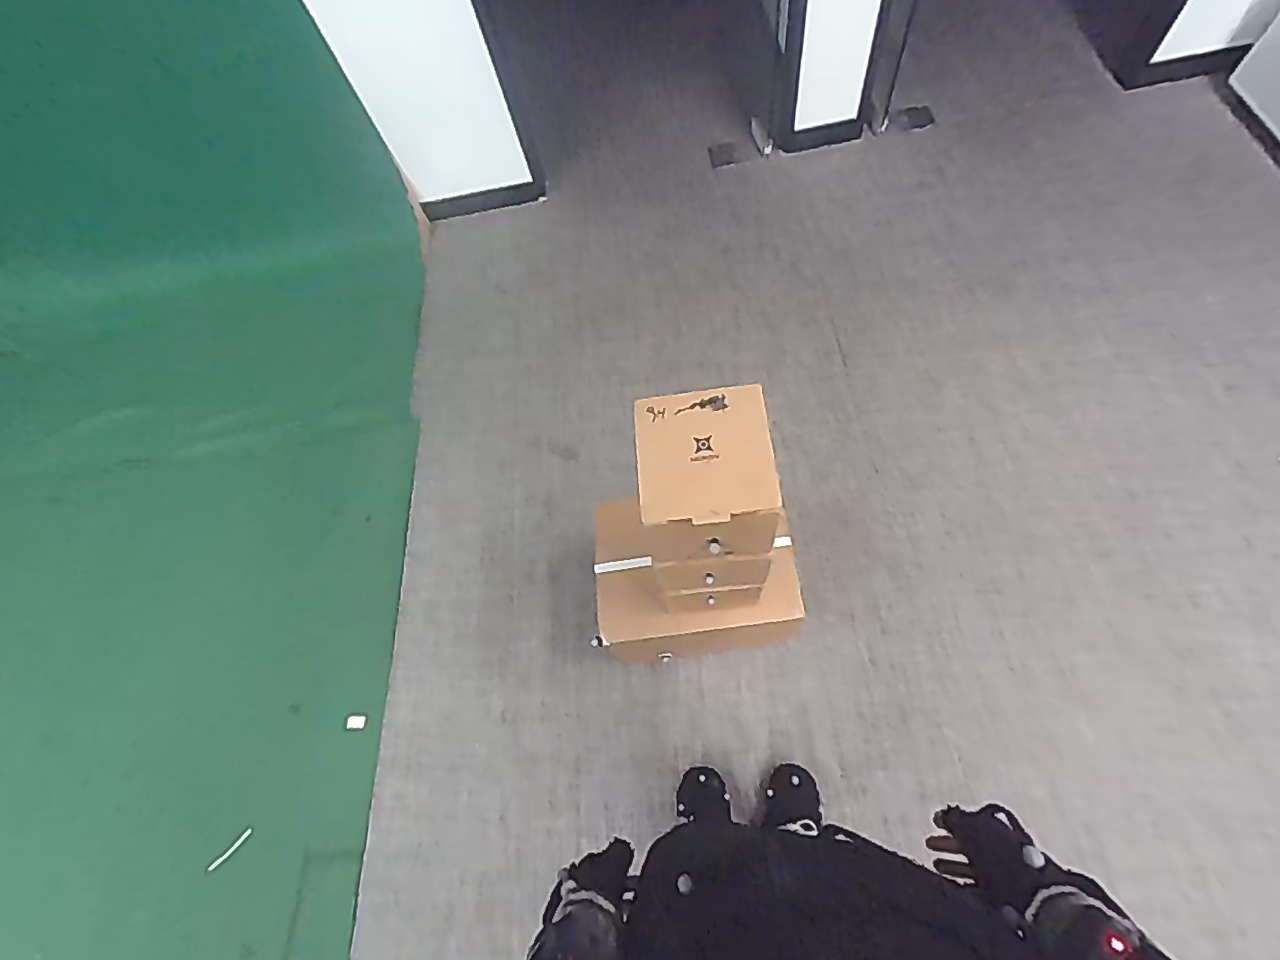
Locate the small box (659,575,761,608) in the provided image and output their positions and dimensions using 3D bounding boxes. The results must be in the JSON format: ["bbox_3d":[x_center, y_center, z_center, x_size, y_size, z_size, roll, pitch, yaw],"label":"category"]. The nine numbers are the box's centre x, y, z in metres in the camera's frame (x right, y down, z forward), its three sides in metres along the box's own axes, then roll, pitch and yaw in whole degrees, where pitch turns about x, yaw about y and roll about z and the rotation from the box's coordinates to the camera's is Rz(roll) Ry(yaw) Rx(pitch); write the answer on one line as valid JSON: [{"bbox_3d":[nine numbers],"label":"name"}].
[{"bbox_3d":[0.126,0.142,1.023,0.179,0.176,0.168,-6,66,5],"label":"small box"}]

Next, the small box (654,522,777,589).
[{"bbox_3d":[0.111,0.073,0.875,0.179,0.176,0.168,-8,66,5],"label":"small box"}]

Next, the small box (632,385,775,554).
[{"bbox_3d":[0.086,-0.003,0.732,0.168,0.176,0.179,-6,66,7],"label":"small box"}]
